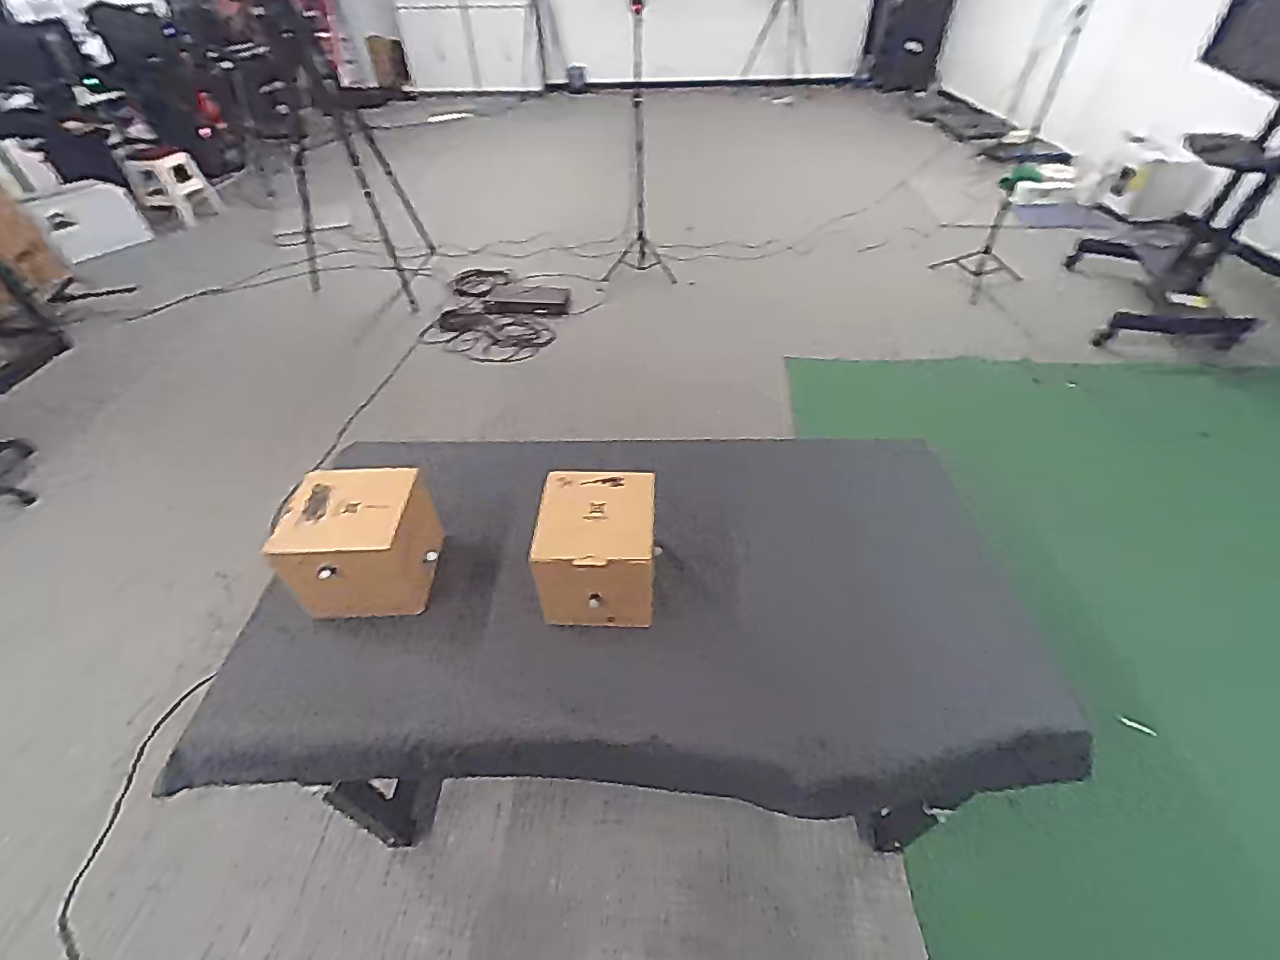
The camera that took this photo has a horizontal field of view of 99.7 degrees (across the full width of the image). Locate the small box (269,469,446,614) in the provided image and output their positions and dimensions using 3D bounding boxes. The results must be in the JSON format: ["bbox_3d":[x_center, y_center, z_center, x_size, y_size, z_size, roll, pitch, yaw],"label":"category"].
[{"bbox_3d":[-0.431,0.100,0.861,0.179,0.176,0.168,-2,45,-2],"label":"small box"}]

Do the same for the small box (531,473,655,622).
[{"bbox_3d":[-0.061,0.107,0.846,0.168,0.176,0.179,1,45,2],"label":"small box"}]
